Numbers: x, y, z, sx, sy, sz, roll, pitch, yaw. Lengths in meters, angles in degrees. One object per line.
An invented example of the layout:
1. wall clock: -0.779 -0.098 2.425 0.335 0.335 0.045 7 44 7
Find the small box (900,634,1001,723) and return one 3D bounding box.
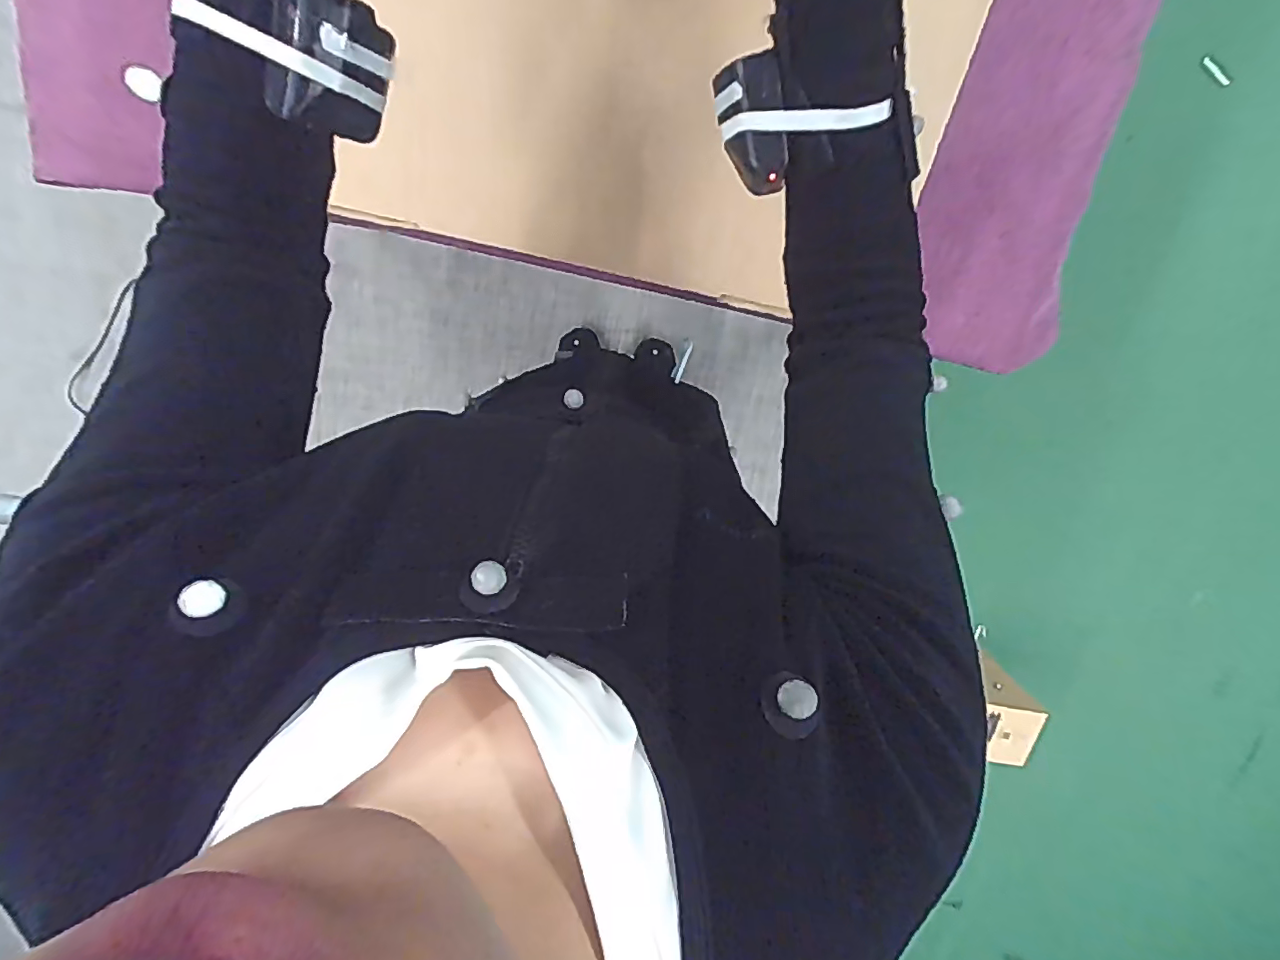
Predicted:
1. small box: 0.902 0.577 1.592 0.179 0.176 0.168 12 107 -4
